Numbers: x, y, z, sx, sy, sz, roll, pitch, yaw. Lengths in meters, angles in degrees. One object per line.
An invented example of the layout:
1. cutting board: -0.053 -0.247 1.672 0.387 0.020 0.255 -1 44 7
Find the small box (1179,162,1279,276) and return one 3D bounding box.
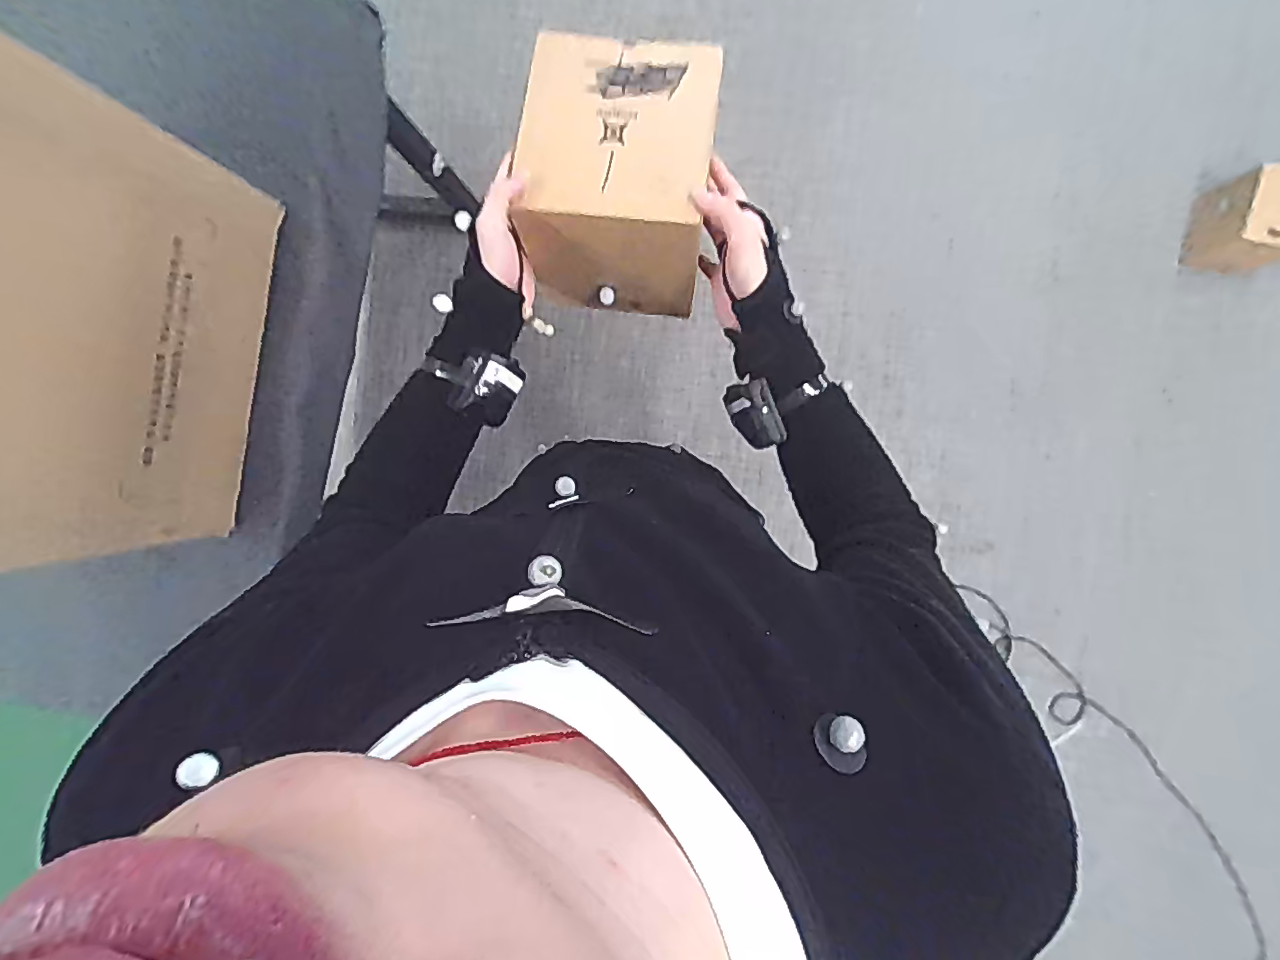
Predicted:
1. small box: 1.469 -0.620 1.300 0.168 0.176 0.179 13 93 4

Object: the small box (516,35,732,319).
1. small box: -0.009 -0.288 0.542 0.168 0.176 0.179 8 80 5
